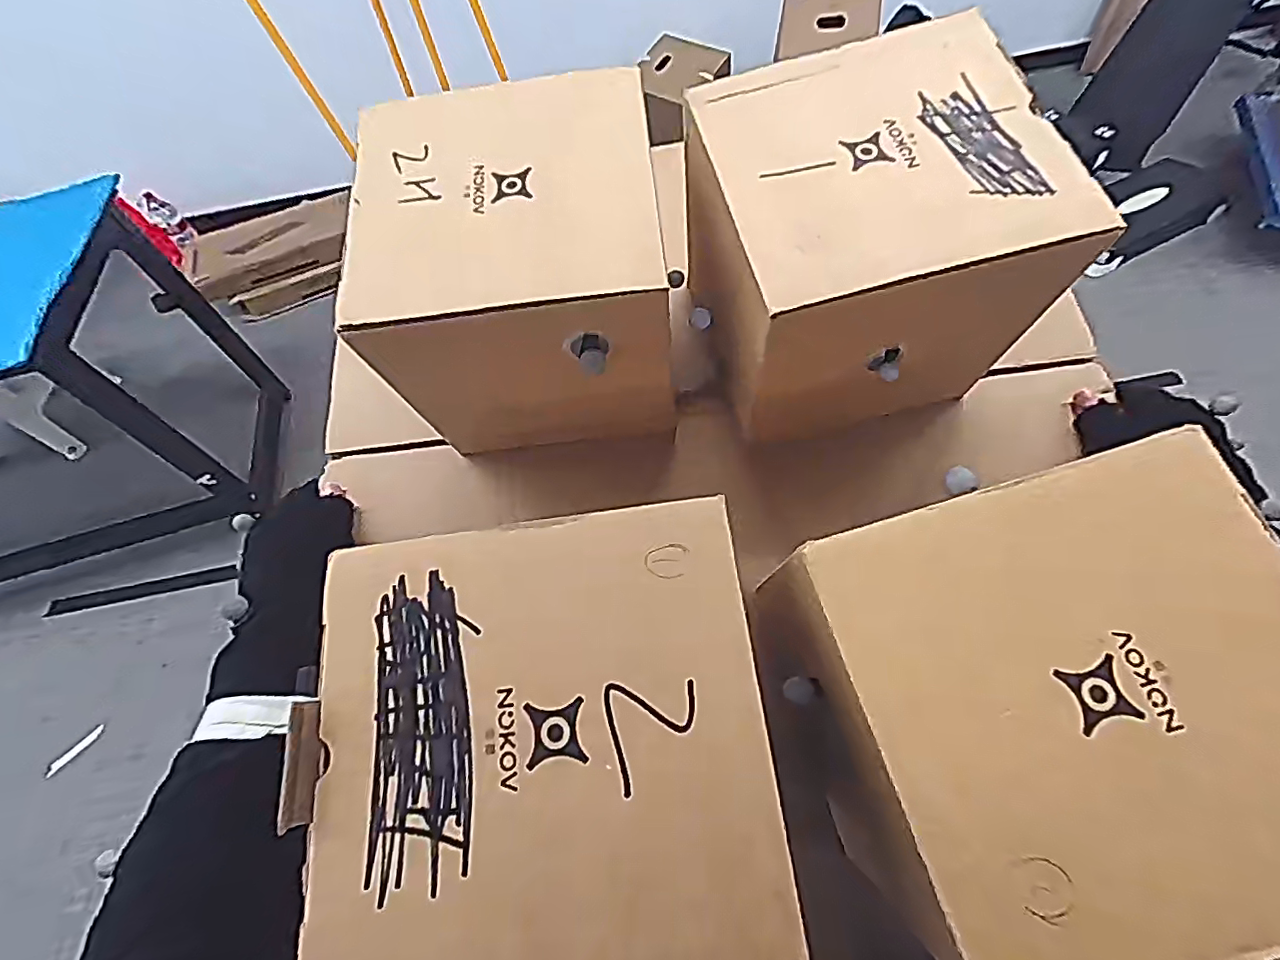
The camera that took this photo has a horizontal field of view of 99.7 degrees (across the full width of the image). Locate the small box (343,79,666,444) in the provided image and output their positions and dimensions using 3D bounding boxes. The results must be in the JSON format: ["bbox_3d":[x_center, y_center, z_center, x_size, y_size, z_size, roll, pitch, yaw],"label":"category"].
[{"bbox_3d":[-0.073,-0.138,0.389,0.179,0.176,0.168,-6,69,4],"label":"small box"}]
